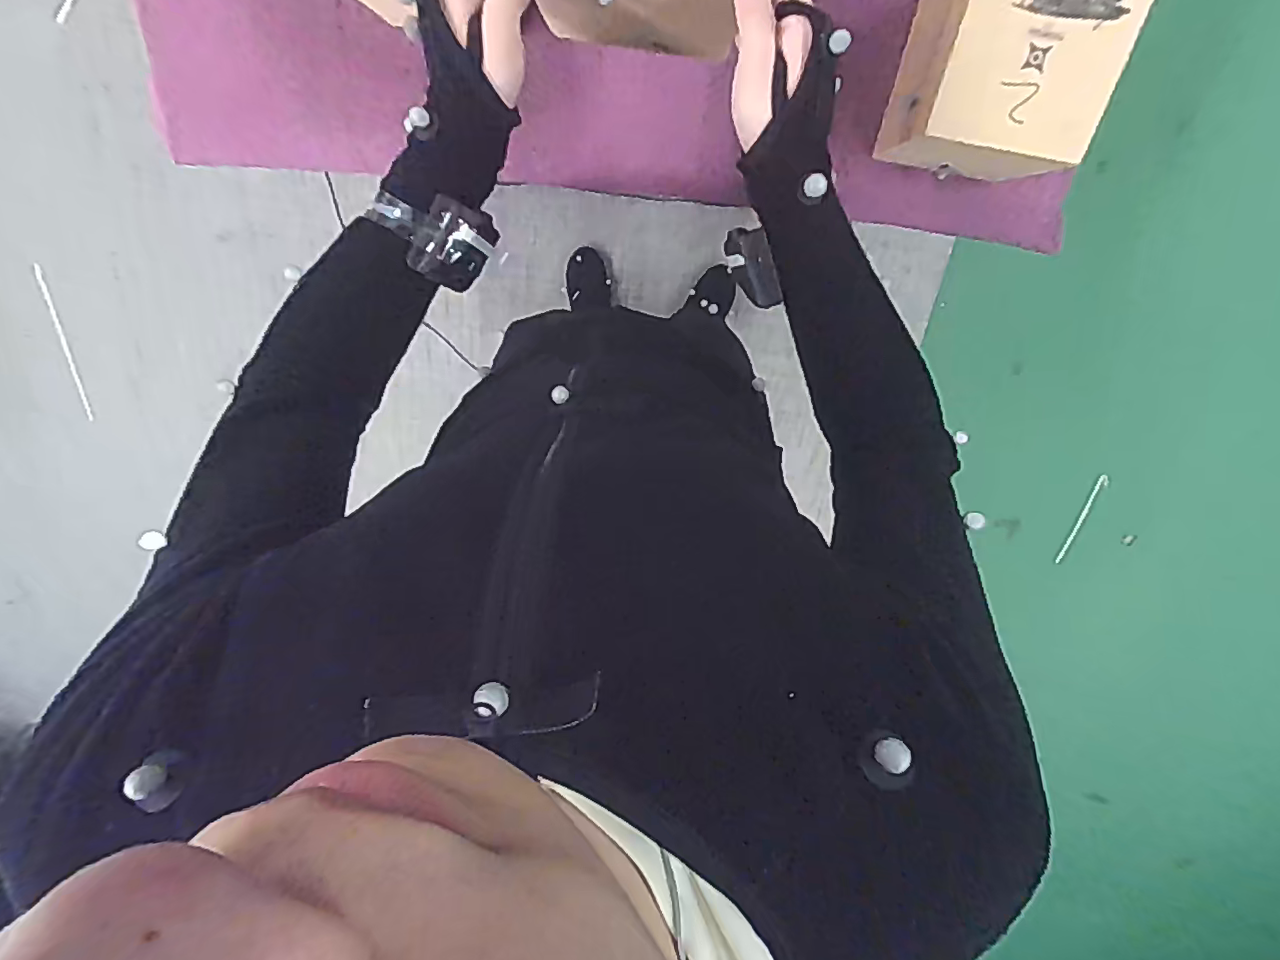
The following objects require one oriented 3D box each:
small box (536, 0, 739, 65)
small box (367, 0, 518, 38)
[{"bbox_3d":[0.002,-0.445,0.396,0.168,0.176,0.179,8,114,-2],"label":"small box"},{"bbox_3d":[-0.229,-0.604,0.565,0.168,0.176,0.179,6,115,1],"label":"small box"}]
